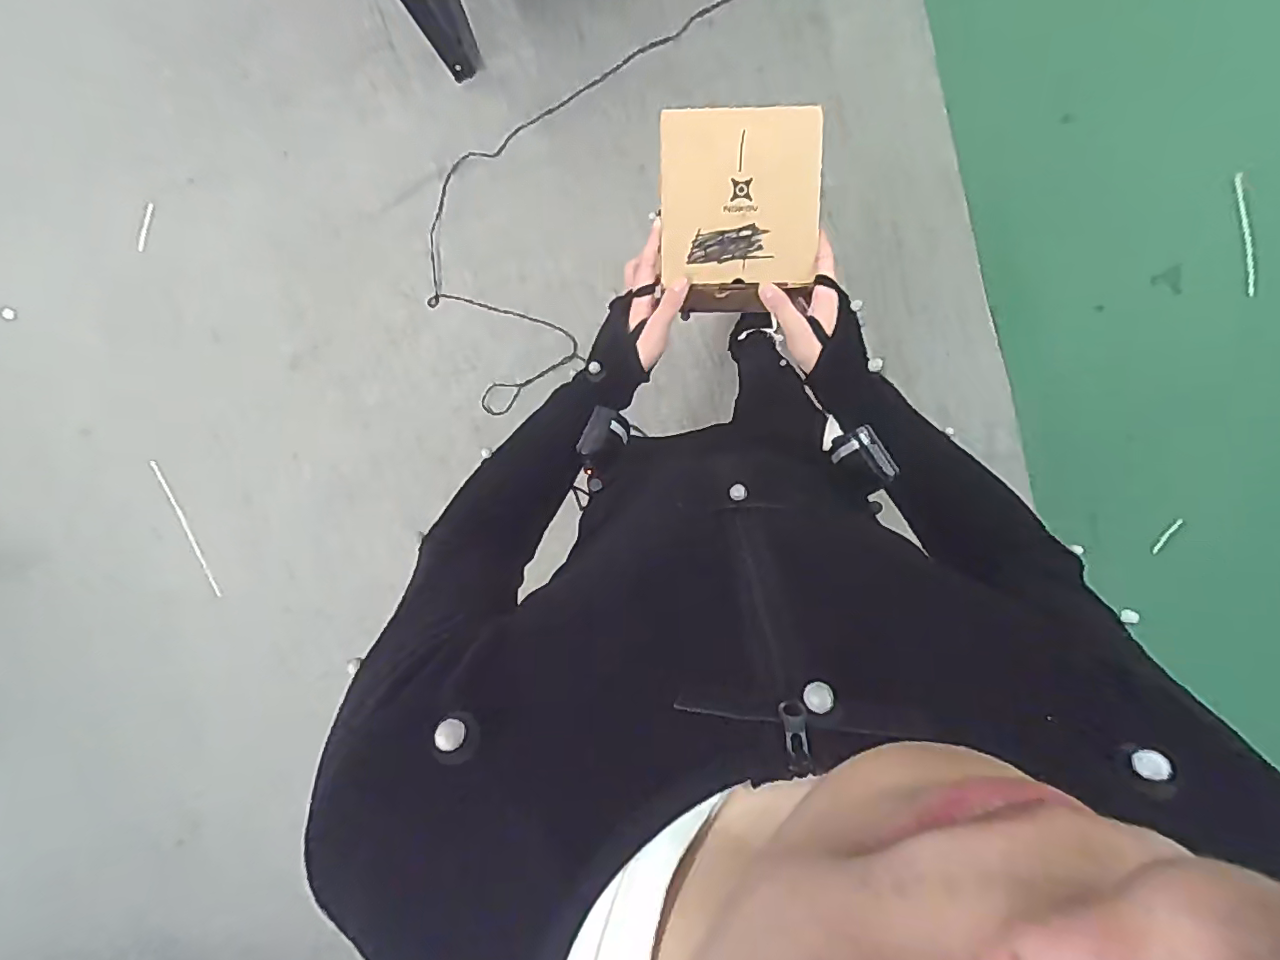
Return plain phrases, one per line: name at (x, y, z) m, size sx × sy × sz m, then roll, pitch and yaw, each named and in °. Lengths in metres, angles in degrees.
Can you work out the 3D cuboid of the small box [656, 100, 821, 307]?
small box at (0.102, -0.303, 0.632) m, size 0.168 × 0.176 × 0.179 m, roll 0°, pitch 97°, yaw 2°
